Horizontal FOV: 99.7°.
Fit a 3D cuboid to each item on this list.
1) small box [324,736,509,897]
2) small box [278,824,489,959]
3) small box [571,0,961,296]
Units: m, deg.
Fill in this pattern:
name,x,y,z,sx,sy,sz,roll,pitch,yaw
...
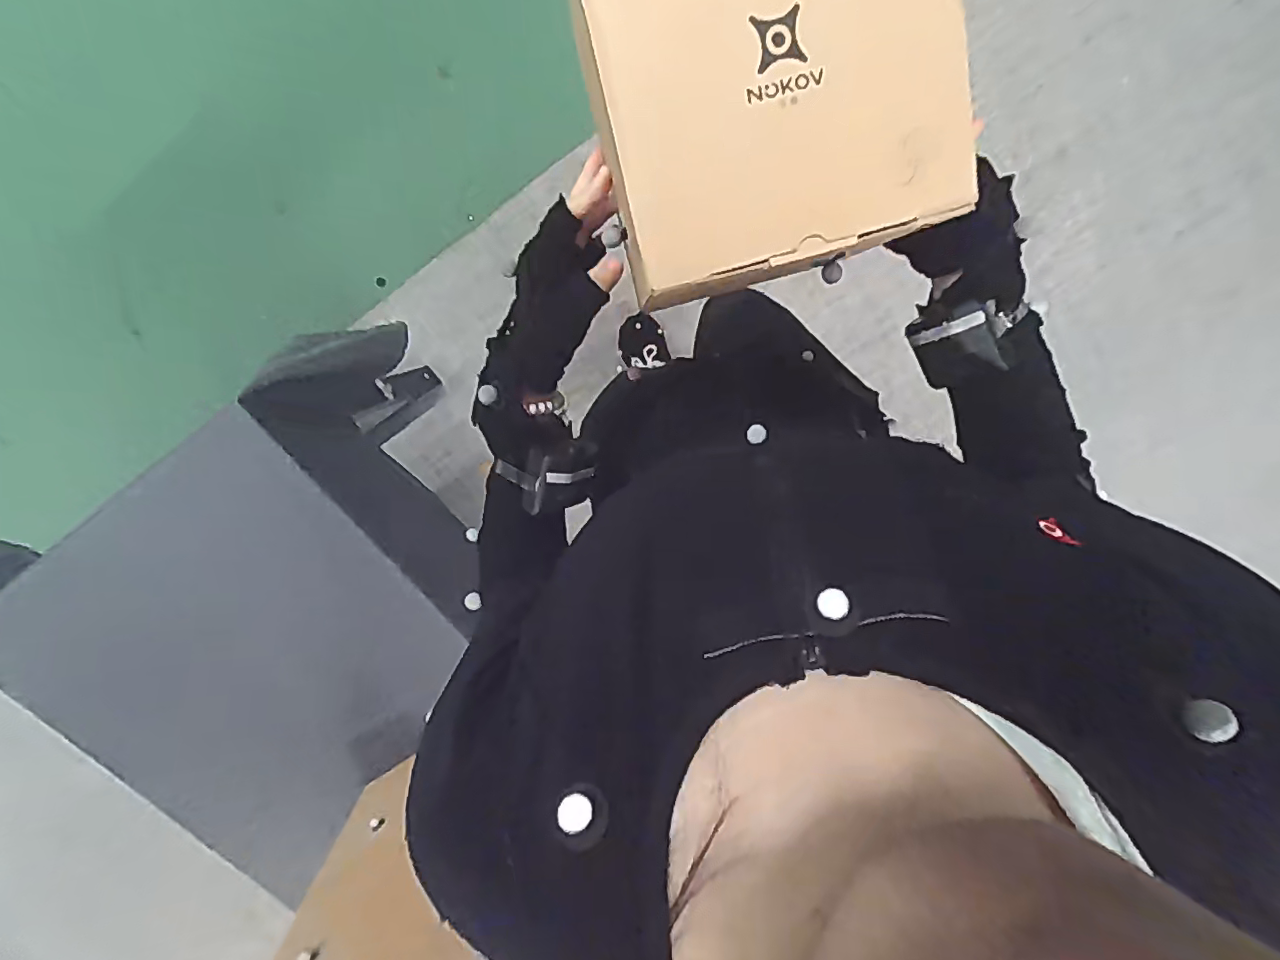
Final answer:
name,x,y,z,sx,sy,sz,roll,pitch,yaw
small box,-0.318,0.532,0.819,0.179,0.176,0.168,-35,104,10
small box,-0.315,0.578,0.663,0.179,0.176,0.168,-35,104,8
small box,0.060,-0.218,0.328,0.168,0.176,0.179,-14,104,3
